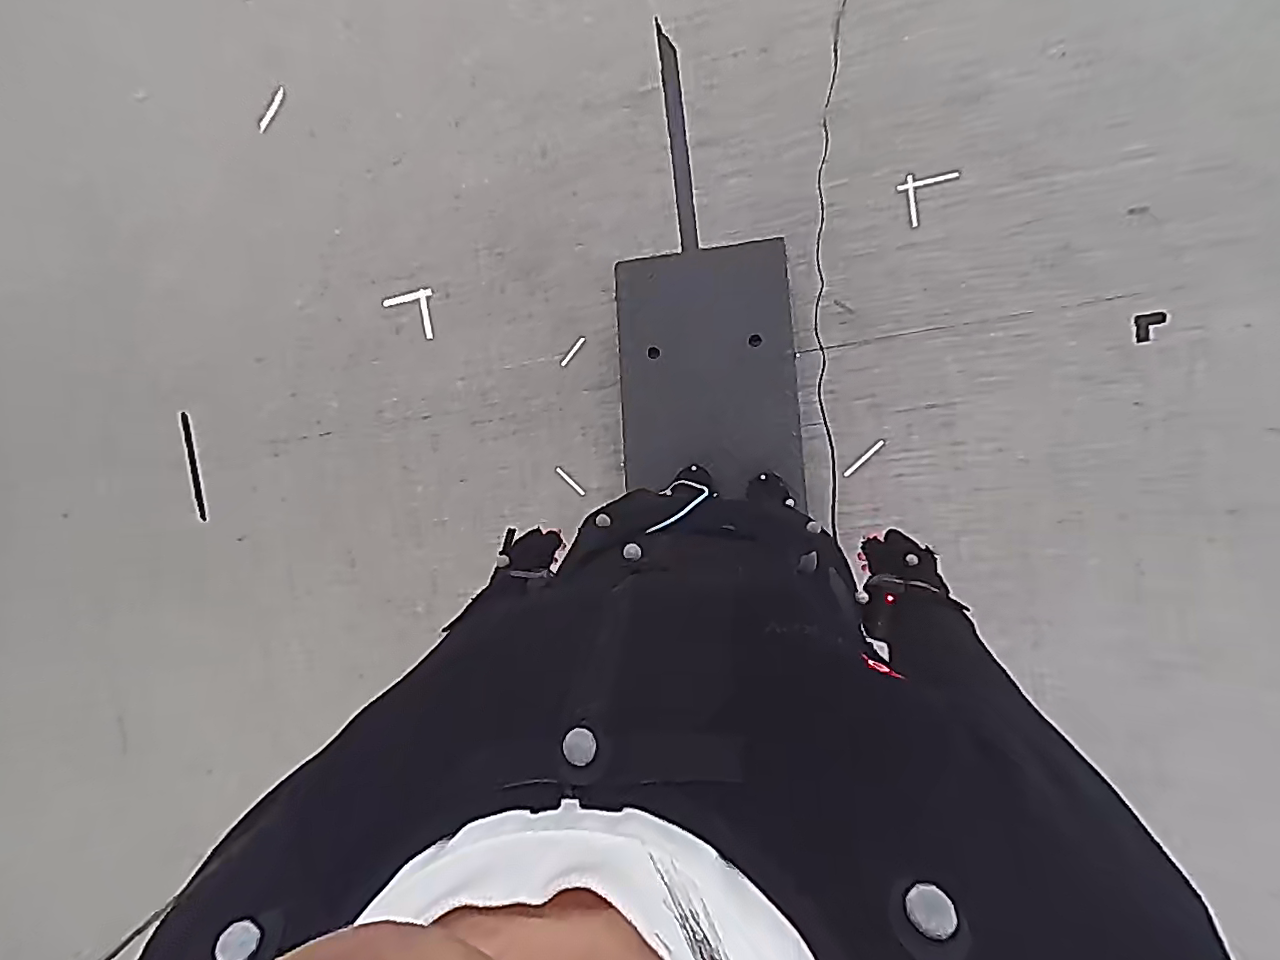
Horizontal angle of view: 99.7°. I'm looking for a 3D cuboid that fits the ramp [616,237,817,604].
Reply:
[{"bbox_3d":[0.189,-0.170,1.497,0.509,0.206,0.991,-6,92,12],"label":"ramp"}]
